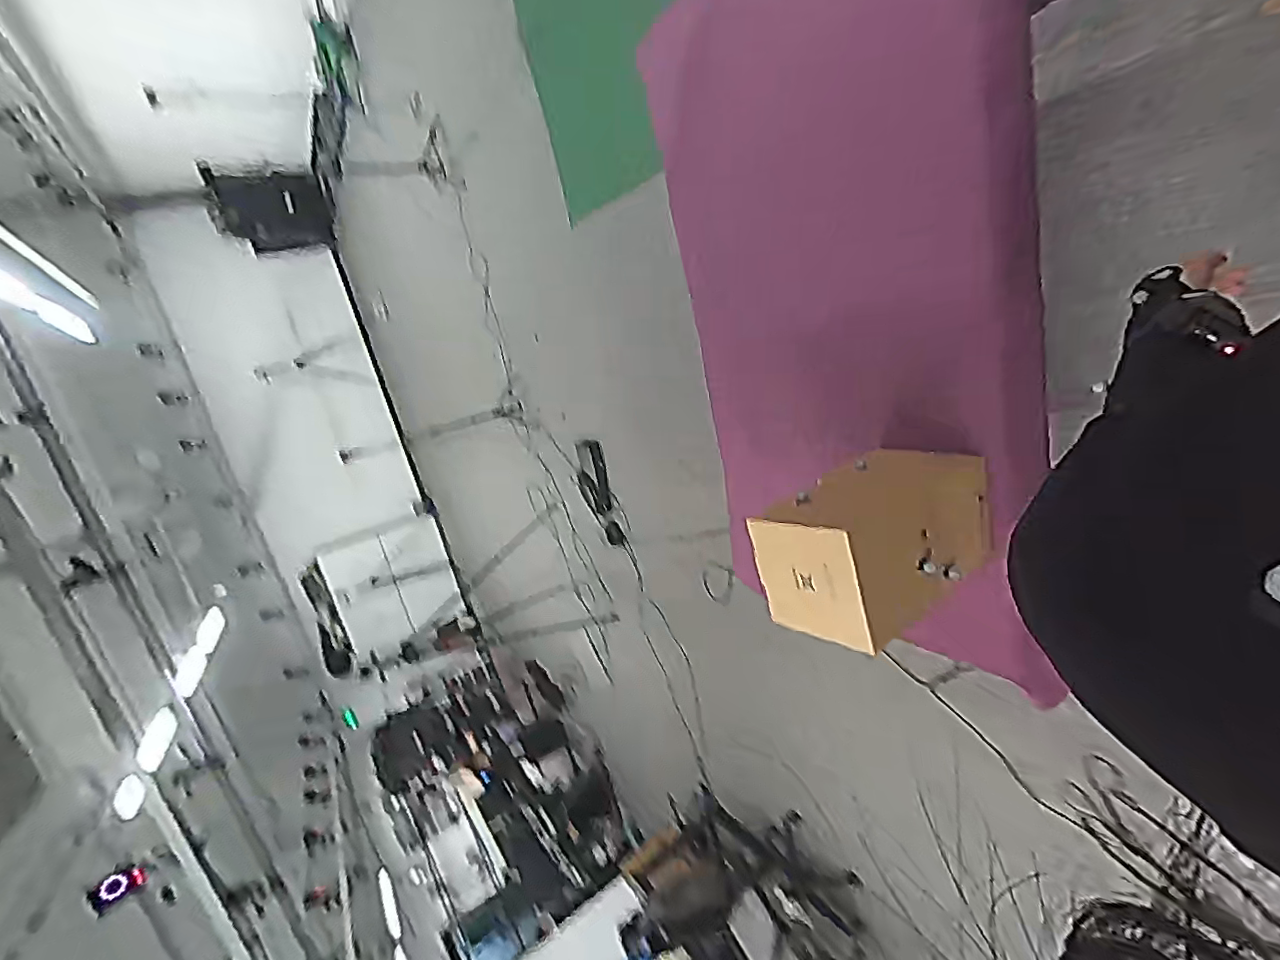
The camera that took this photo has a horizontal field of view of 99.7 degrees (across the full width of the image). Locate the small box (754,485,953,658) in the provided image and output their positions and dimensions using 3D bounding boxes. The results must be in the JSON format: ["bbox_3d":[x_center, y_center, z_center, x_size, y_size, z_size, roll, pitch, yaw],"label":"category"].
[{"bbox_3d":[0.291,0.111,0.746,0.179,0.176,0.168,1,111,59],"label":"small box"}]
